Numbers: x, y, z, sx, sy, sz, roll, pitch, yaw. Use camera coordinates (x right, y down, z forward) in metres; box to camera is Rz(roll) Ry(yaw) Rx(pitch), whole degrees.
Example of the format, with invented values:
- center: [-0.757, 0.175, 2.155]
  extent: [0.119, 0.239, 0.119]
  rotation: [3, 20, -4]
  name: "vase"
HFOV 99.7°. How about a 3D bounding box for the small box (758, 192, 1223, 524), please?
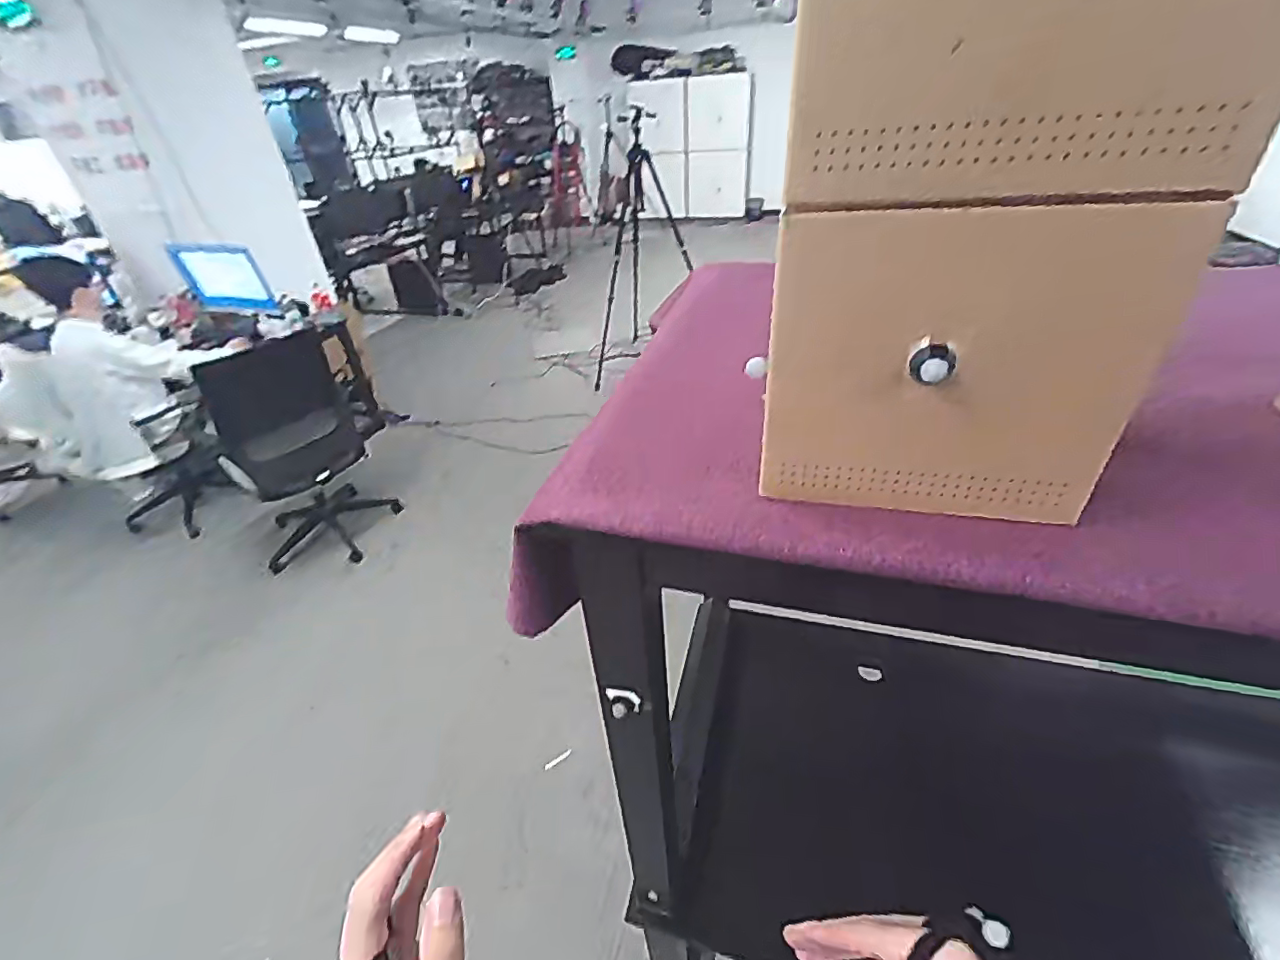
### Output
- center: [0.172, -0.089, 0.339]
  extent: [0.179, 0.176, 0.168]
  rotation: [4, 35, 14]
  name: "small box"
